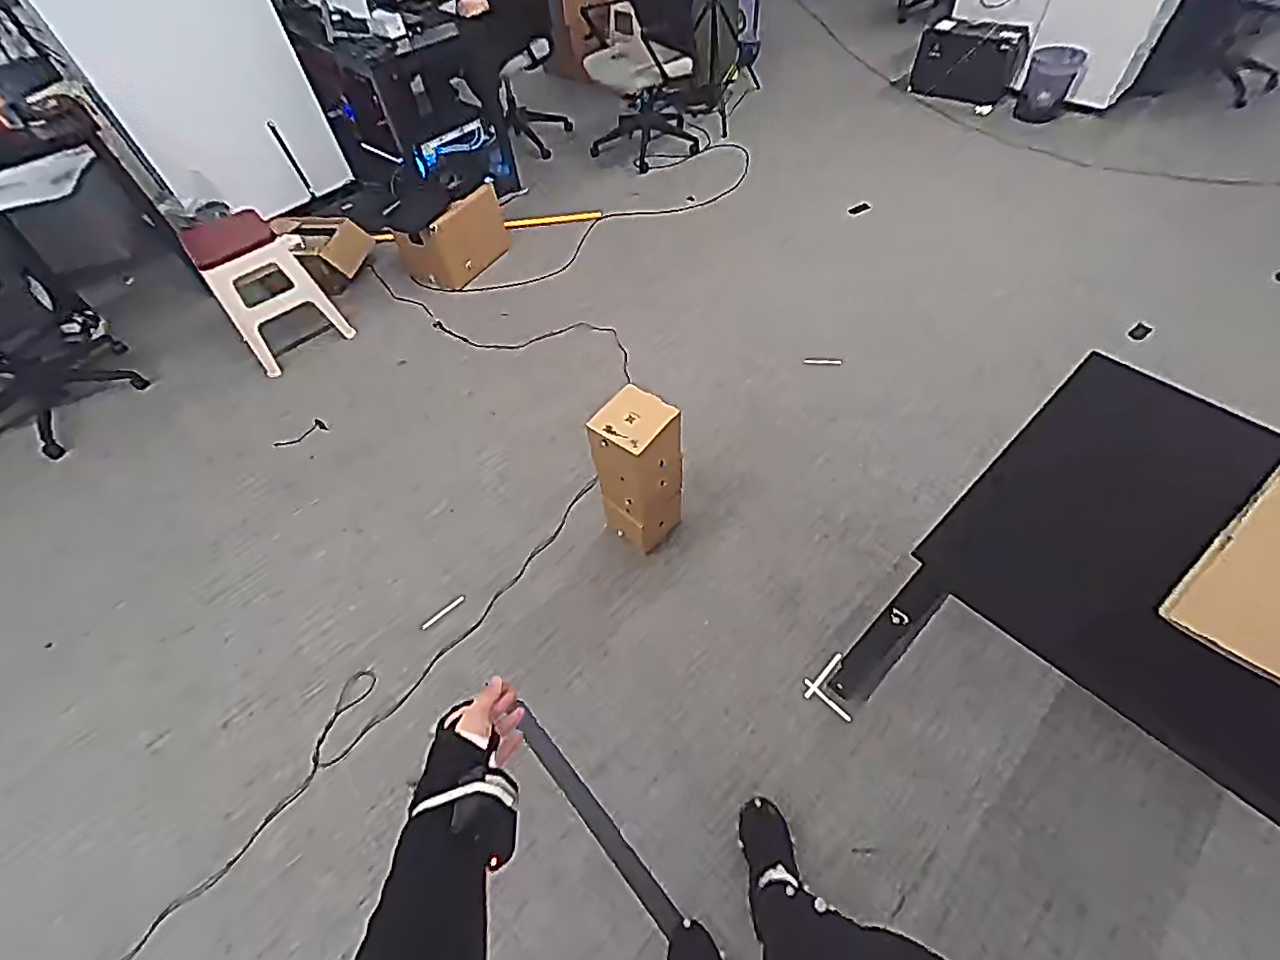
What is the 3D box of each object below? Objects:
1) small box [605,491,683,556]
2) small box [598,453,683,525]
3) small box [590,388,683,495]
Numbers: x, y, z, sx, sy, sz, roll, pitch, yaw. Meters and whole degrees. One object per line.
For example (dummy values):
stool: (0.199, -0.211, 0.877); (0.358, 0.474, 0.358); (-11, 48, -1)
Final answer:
small box: (0.015, 0.095, 1.652); (0.168, 0.176, 0.179); (36, 65, 27)
small box: (0.007, -0.004, 1.524); (0.168, 0.176, 0.179); (34, 62, 24)
small box: (-0.006, -0.097, 1.389); (0.168, 0.176, 0.179); (31, 62, 24)
